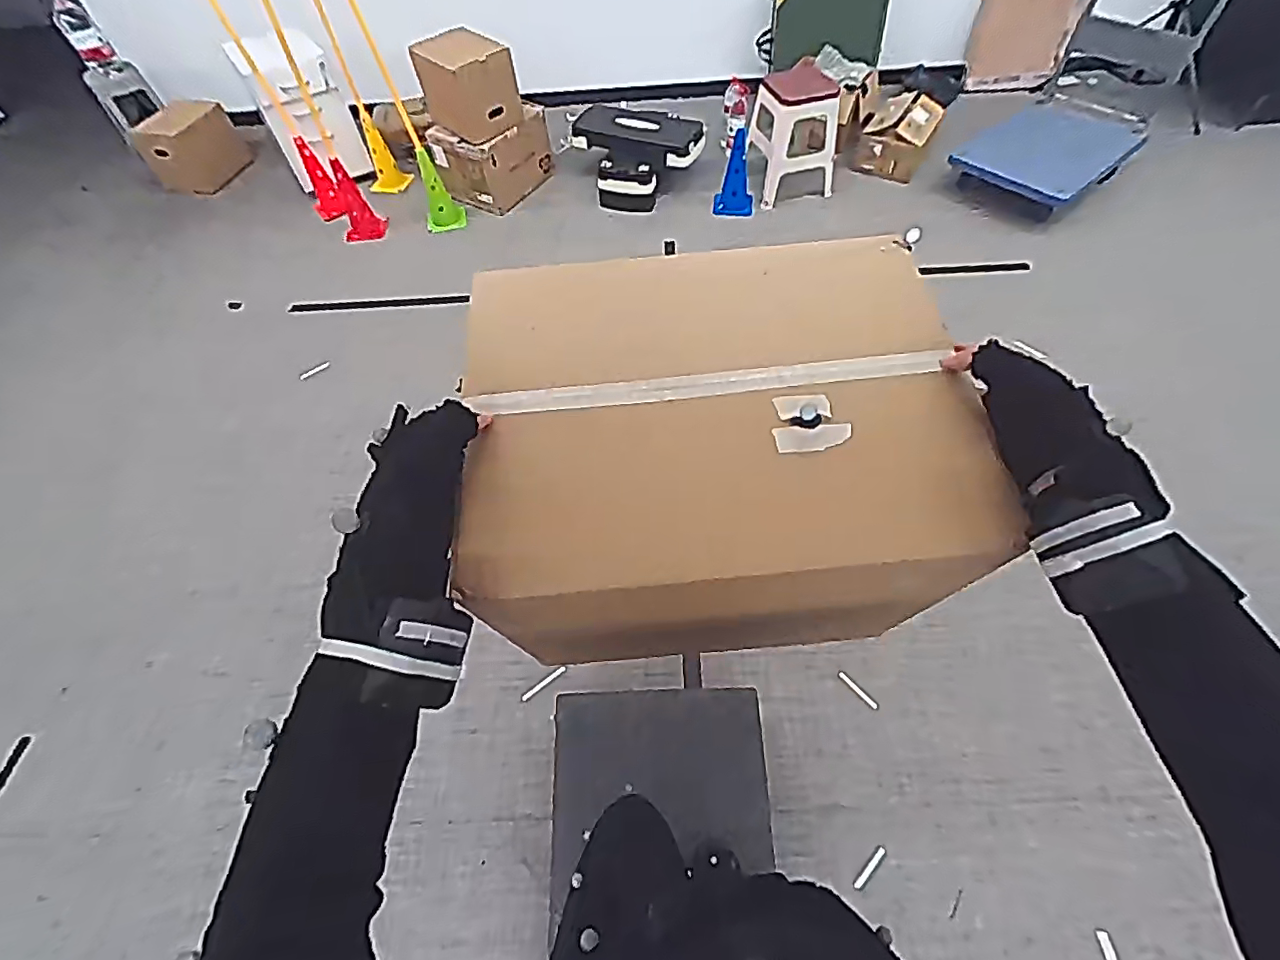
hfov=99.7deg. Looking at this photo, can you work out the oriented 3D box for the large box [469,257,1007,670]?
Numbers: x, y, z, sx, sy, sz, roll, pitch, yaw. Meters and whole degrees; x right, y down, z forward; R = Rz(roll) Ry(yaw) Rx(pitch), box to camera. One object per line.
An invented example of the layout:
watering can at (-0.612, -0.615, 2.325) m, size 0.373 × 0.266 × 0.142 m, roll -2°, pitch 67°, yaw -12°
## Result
large box at (0.062, 0.004, 0.590) m, size 0.408 × 0.320 × 0.320 m, roll -6°, pitch 63°, yaw 0°
